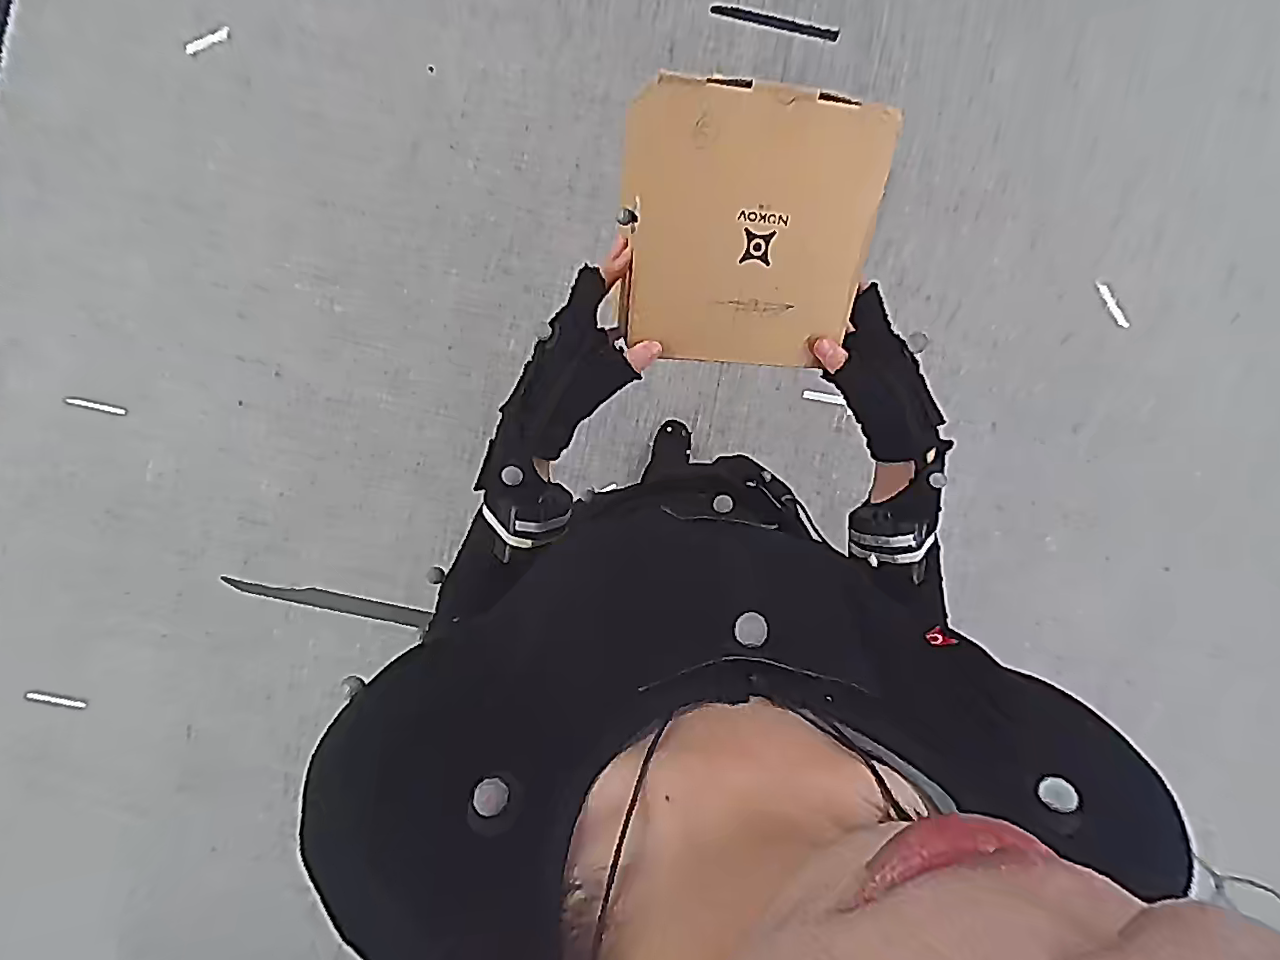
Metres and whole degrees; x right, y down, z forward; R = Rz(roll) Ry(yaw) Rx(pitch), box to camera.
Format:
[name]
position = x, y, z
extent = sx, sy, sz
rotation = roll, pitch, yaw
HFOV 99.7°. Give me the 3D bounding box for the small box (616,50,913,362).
[small box]
position = 0.074, -0.209, 0.436
extent = 0.168, 0.176, 0.179
rotation = 2, 119, -10
